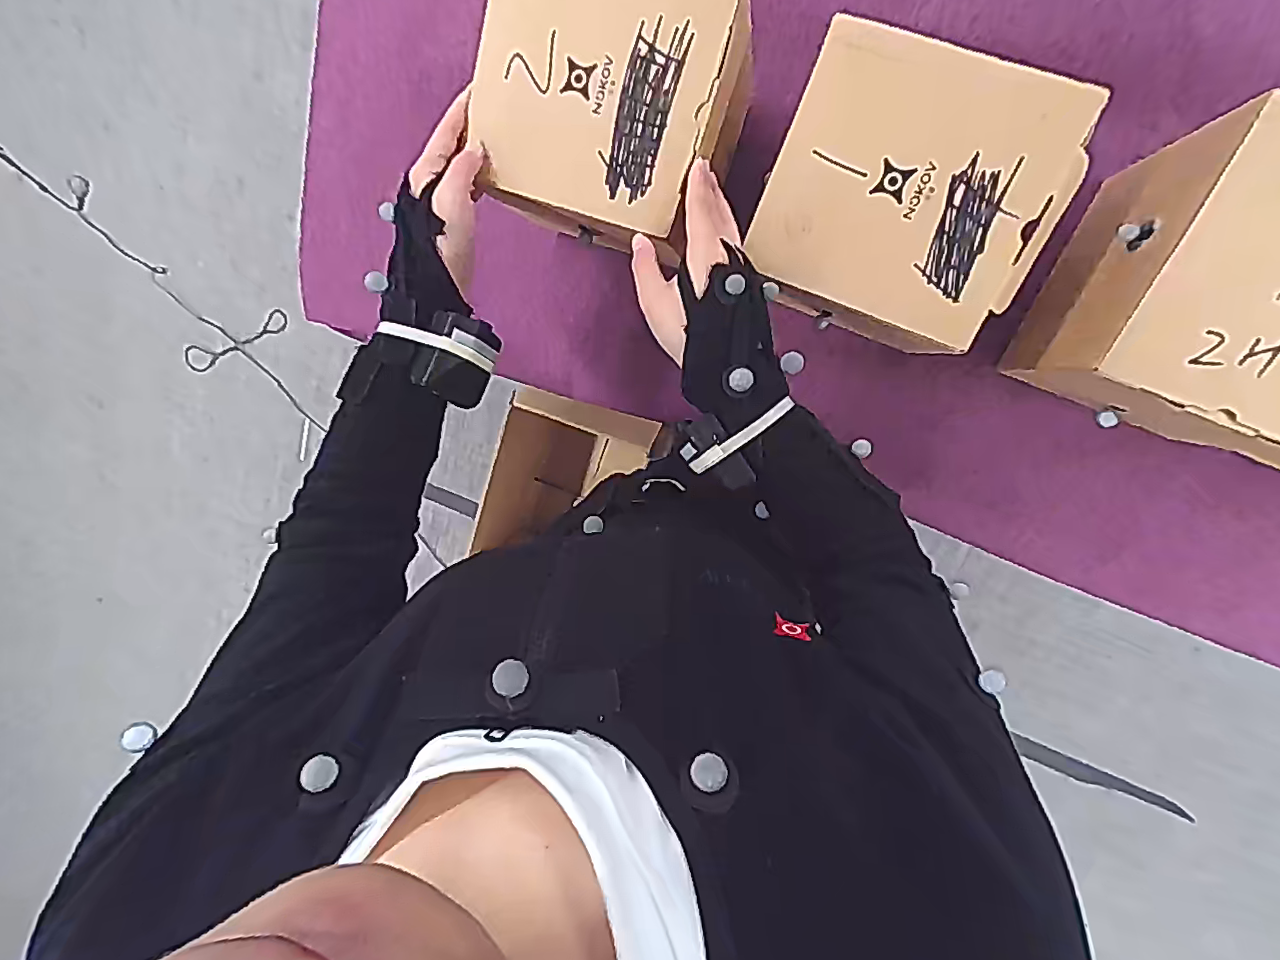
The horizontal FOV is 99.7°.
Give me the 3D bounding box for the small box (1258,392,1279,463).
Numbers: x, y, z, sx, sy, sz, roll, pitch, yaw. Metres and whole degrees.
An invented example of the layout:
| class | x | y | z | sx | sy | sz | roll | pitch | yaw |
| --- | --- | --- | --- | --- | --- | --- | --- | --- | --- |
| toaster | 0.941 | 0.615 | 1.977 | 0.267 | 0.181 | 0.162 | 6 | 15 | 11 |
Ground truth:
| class | x | y | z | sx | sy | sz | roll | pitch | yaw |
| --- | --- | --- | --- | --- | --- | --- | --- | --- | --- |
| small box | 0.614 | -0.057 | 0.367 | 0.168 | 0.176 | 0.179 | 25 | 107 | 8 |
